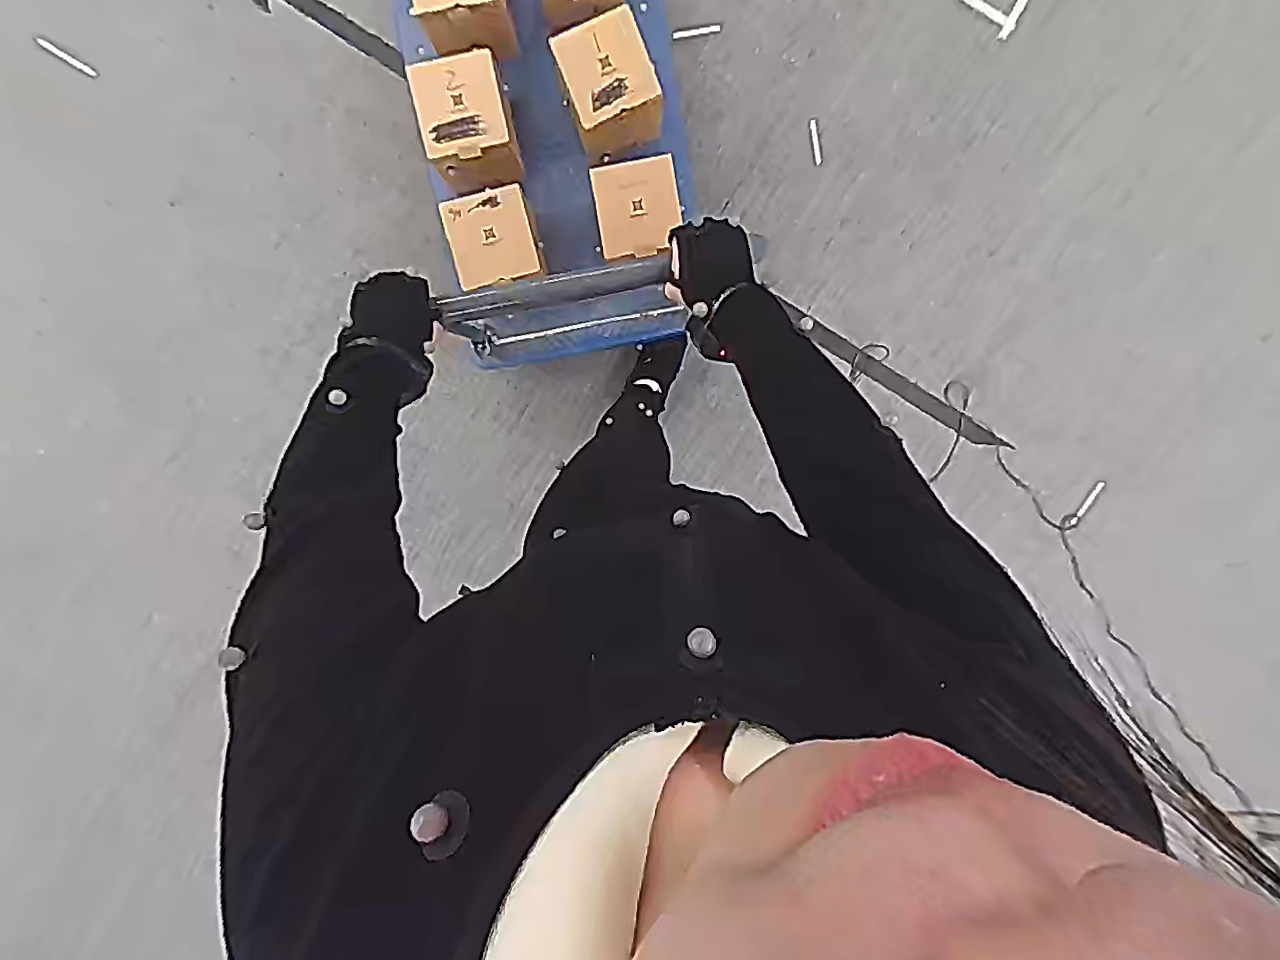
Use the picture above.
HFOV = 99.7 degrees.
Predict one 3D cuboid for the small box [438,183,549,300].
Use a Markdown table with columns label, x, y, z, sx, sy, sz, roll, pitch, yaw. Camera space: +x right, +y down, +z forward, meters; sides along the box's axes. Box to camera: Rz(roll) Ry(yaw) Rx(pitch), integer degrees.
| label | x | y | z | sx | sy | sz | roll | pitch | yaw |
| --- | --- | --- | --- | --- | --- | --- | --- | --- | --- |
| small box | -0.299 | -0.492 | 1.146 | 0.168 | 0.176 | 0.179 | -14 | 98 | 0 |

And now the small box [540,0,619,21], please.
| label | x | y | z | sx | sy | sz | roll | pitch | yaw |
| --- | --- | --- | --- | --- | --- | --- | --- | --- | --- |
| small box | -0.139 | -1.063 | 1.073 | 0.168 | 0.176 | 0.179 | -14 | 98 | 1 |

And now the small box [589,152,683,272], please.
| label | x | y | z | sx | sy | sz | roll | pitch | yaw |
| --- | --- | --- | --- | --- | --- | --- | --- | --- | --- |
| small box | -0.008 | -0.554 | 1.145 | 0.168 | 0.176 | 0.179 | -11 | 97 | 0 |

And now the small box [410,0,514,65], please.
| label | x | y | z | sx | sy | sz | roll | pitch | yaw |
| --- | --- | --- | --- | --- | --- | --- | --- | --- | --- |
| small box | -0.360 | -0.982 | 1.078 | 0.168 | 0.176 | 0.179 | -9 | 99 | 0 |

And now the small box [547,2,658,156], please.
| label | x | y | z | sx | sy | sz | roll | pitch | yaw |
| --- | --- | --- | --- | --- | --- | --- | --- | --- | --- |
| small box | -0.070 | -0.802 | 1.109 | 0.168 | 0.176 | 0.179 | -23 | 97 | 2 |
